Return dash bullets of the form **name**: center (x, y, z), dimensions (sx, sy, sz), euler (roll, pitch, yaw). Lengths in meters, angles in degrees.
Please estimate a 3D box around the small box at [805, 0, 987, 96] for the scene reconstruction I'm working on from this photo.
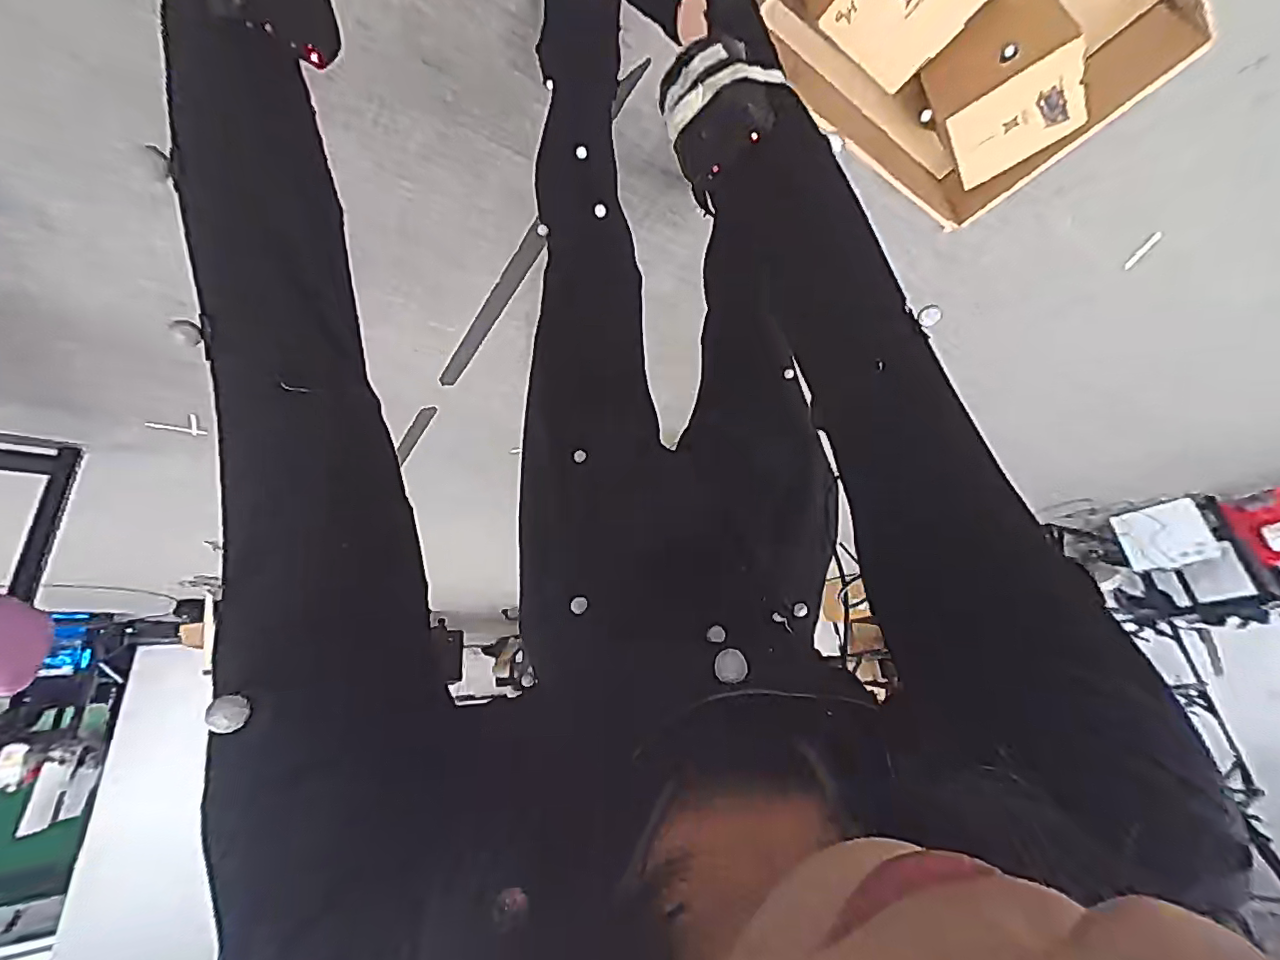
- **small box**: center (0.322, -0.662, 0.696), dimensions (0.179, 0.176, 0.168), euler (9, 150, -35)

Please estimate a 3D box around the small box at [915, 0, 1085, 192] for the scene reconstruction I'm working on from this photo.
- **small box**: center (0.567, -0.619, 0.861), dimensions (0.179, 0.176, 0.168), euler (-22, 151, 33)
